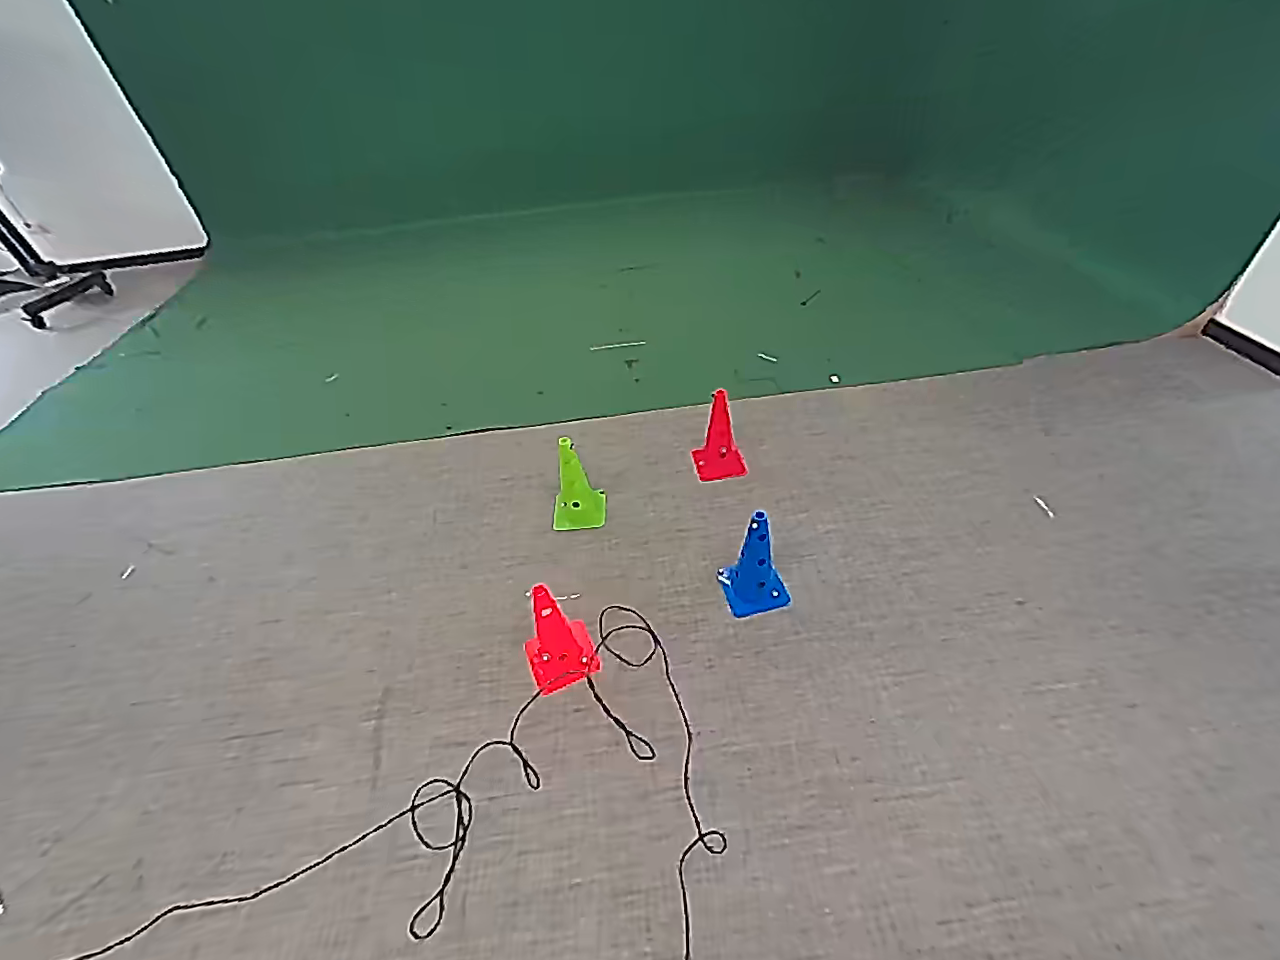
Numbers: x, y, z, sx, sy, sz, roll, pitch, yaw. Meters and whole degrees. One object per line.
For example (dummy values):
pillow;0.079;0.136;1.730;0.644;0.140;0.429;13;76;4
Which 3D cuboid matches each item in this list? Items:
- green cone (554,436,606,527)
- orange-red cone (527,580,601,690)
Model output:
green cone;-0.250;-0.018;2.011;0.200;0.368;0.202;-6;44;1
orange-red cone;-0.251;0.411;1.561;0.198;0.360;0.199;-20;43;-15
